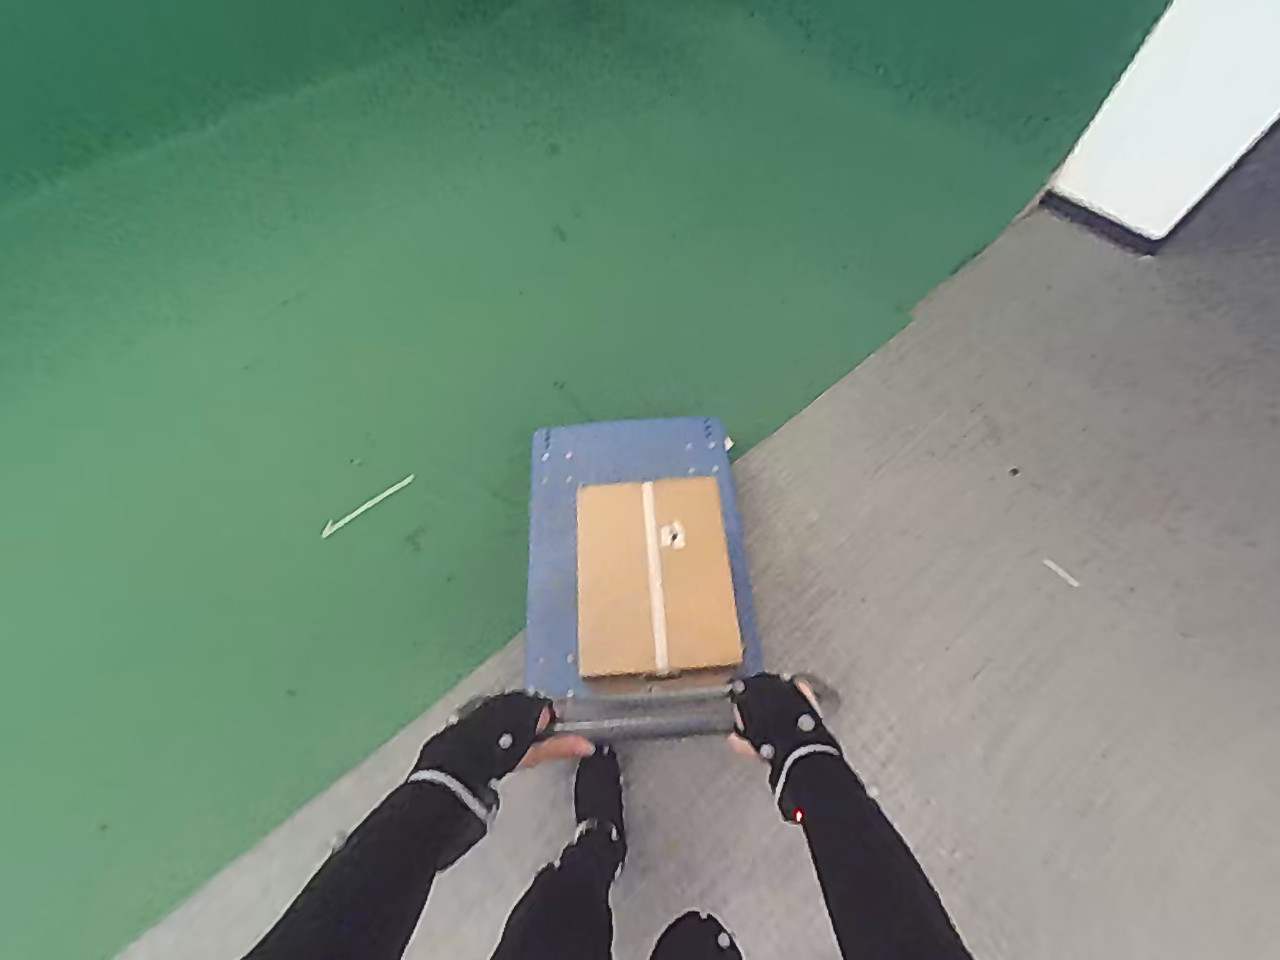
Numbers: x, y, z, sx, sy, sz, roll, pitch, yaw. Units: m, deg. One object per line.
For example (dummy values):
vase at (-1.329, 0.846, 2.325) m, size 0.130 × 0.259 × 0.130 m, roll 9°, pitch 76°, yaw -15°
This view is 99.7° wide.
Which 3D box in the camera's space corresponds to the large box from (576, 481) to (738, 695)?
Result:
large box at (0.028, 0.260, 1.261) m, size 0.320 × 0.320 × 0.408 m, roll -4°, pitch 61°, yaw -1°
